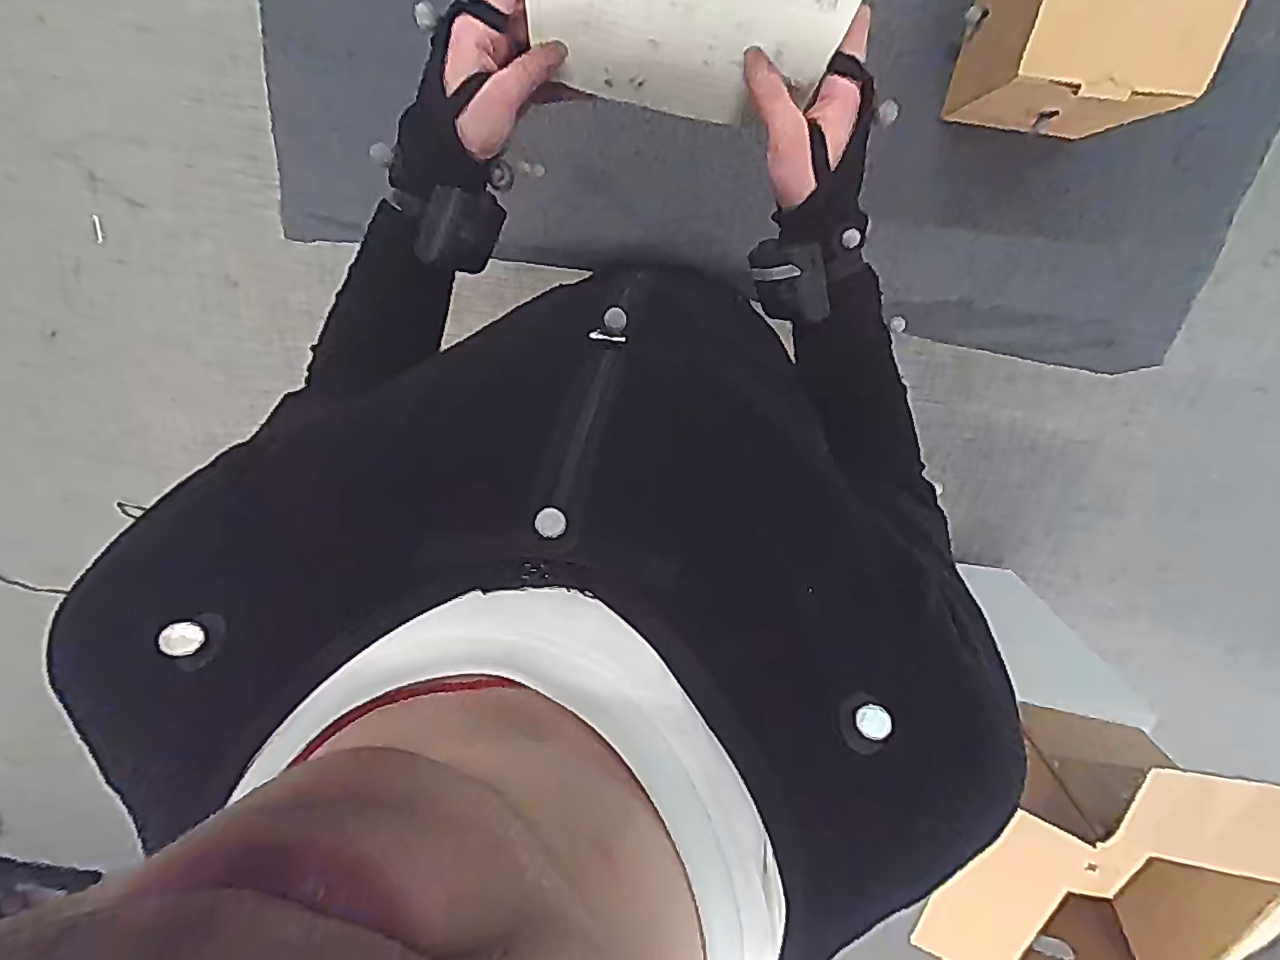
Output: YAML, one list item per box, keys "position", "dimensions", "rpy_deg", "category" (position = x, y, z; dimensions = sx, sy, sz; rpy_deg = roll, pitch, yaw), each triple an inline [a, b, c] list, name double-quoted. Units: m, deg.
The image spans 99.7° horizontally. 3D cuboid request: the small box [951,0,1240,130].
- position: [0.441, -0.465, 0.533]
  dimensions: [0.168, 0.176, 0.179]
  rpy_deg: [9, 115, 2]
  category: "small box"
